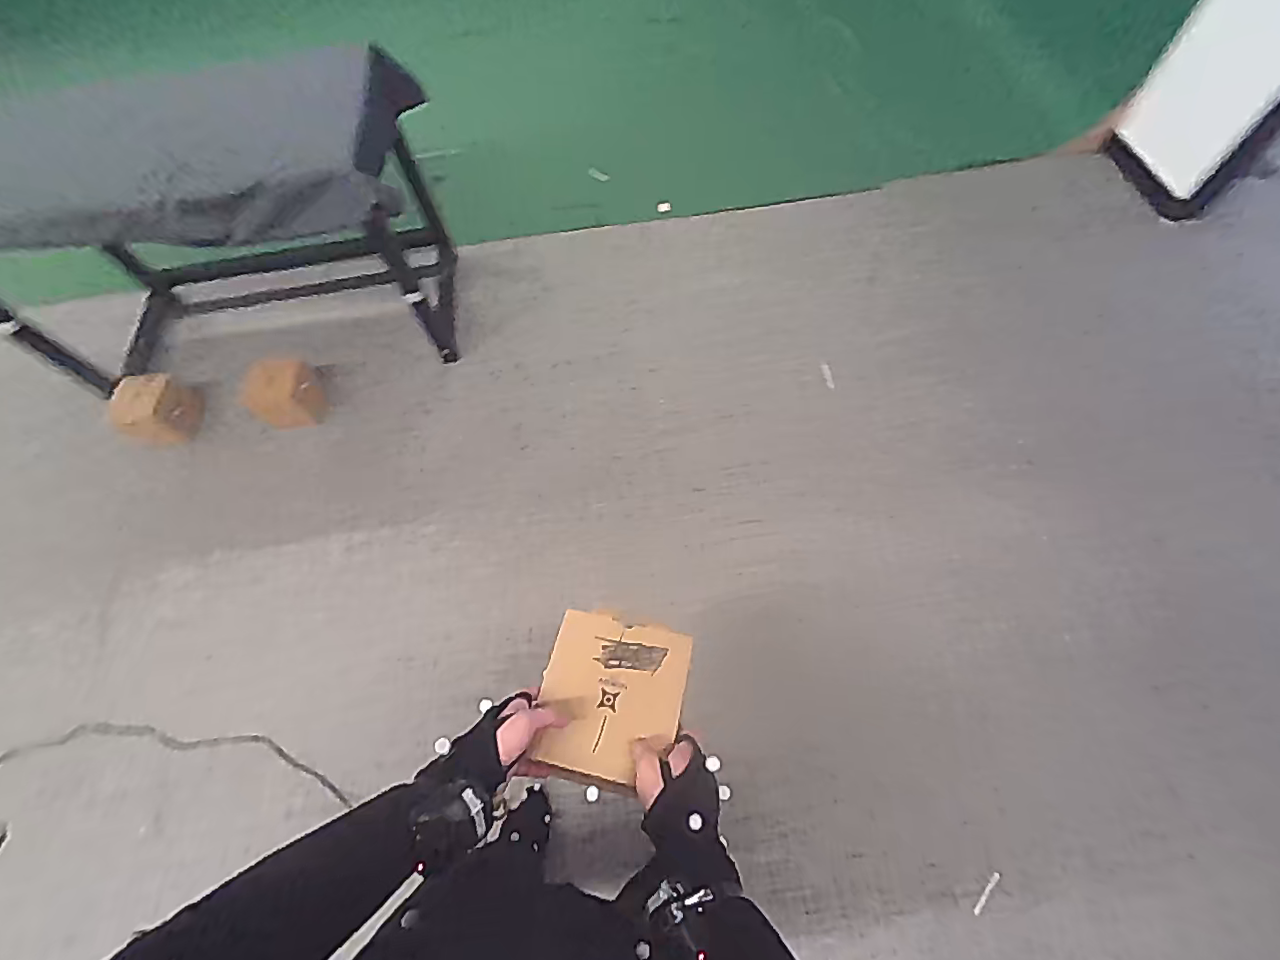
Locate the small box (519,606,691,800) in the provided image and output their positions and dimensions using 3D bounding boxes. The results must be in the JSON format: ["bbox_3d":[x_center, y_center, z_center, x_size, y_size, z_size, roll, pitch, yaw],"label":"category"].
[{"bbox_3d":[-0.033,0.286,0.687,0.168,0.176,0.179,9,57,10],"label":"small box"}]

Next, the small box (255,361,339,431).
[{"bbox_3d":[-1.166,-0.280,1.855,0.168,0.176,0.179,-6,61,1],"label":"small box"}]
